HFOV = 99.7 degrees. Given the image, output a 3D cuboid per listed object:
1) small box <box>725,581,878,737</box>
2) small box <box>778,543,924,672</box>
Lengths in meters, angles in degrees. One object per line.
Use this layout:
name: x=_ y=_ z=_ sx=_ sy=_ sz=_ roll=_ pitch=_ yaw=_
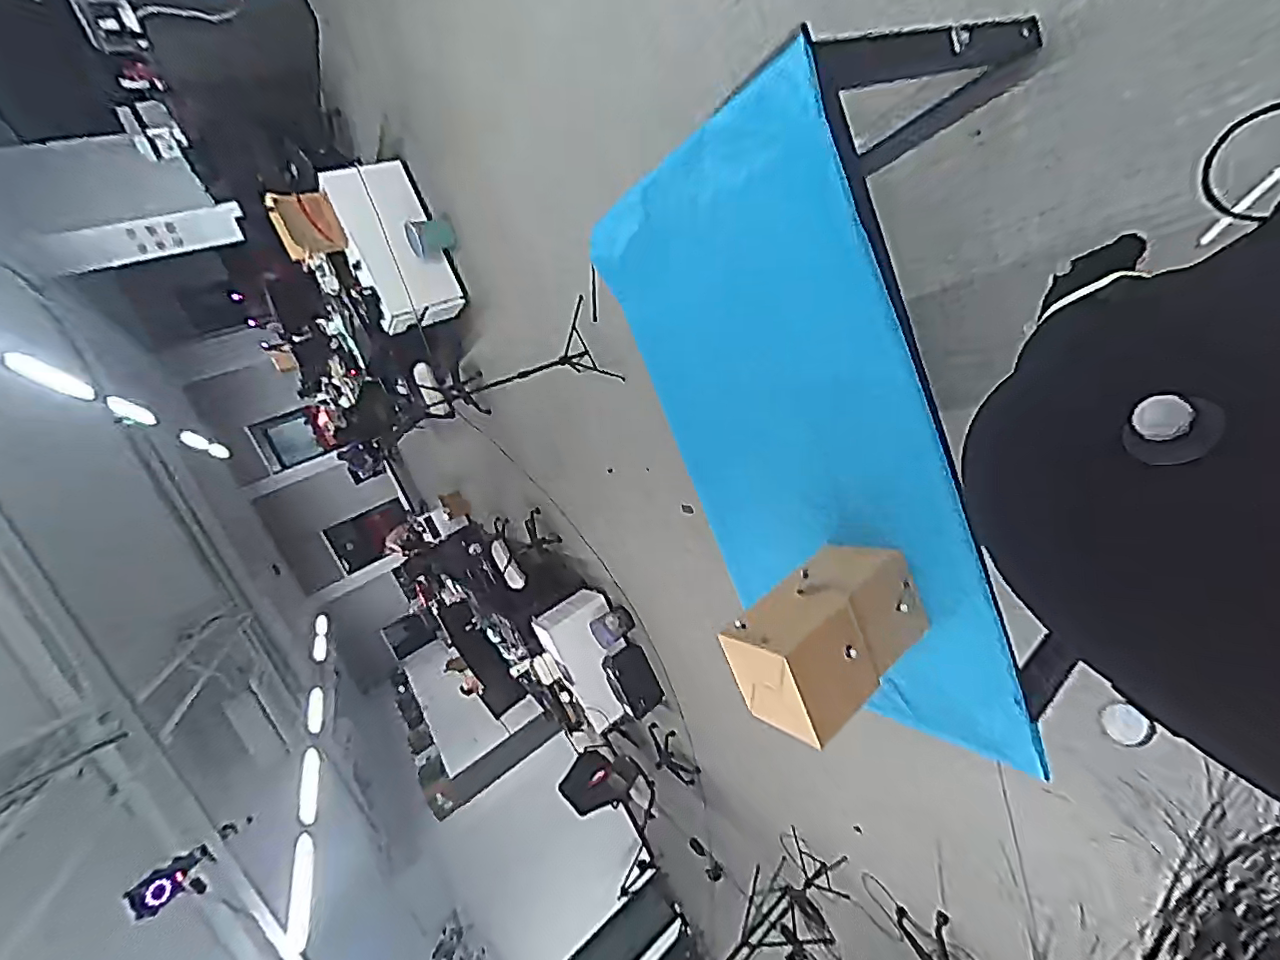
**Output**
small box: x=0.273 y=0.302 z=0.940 sx=0.168 sy=0.176 sz=0.179 roll=-2 pitch=113 yaw=61
small box: x=0.399 y=0.234 z=1.027 sx=0.179 sy=0.176 sz=0.168 roll=-1 pitch=116 yaw=58
